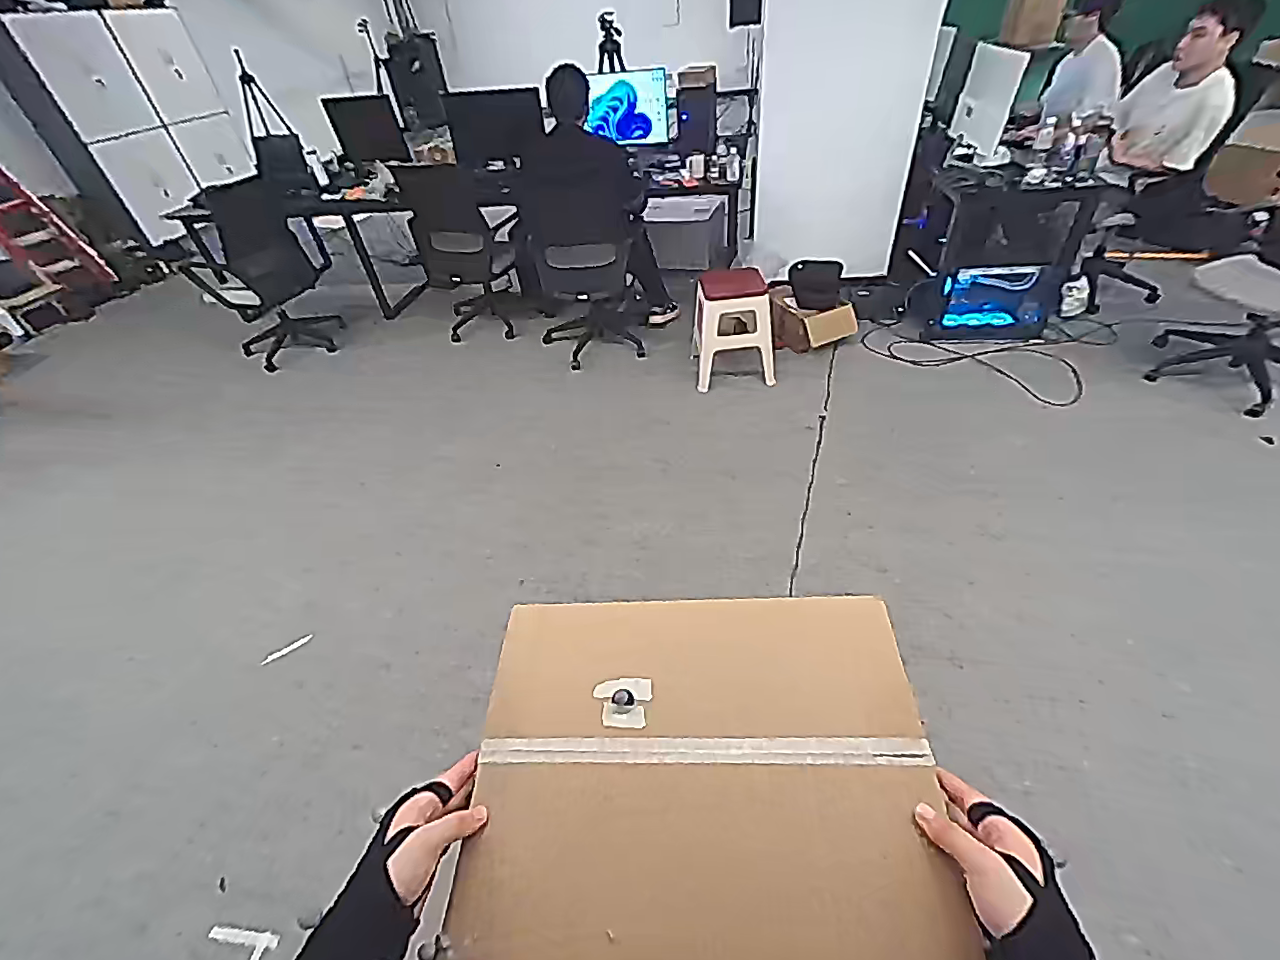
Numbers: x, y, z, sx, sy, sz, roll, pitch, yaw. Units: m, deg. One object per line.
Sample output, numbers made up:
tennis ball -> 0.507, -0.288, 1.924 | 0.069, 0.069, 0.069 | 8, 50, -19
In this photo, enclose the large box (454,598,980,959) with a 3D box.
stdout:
large box -> 0.072, 0.357, 0.611 | 0.408, 0.320, 0.320 | -5, 46, 7
